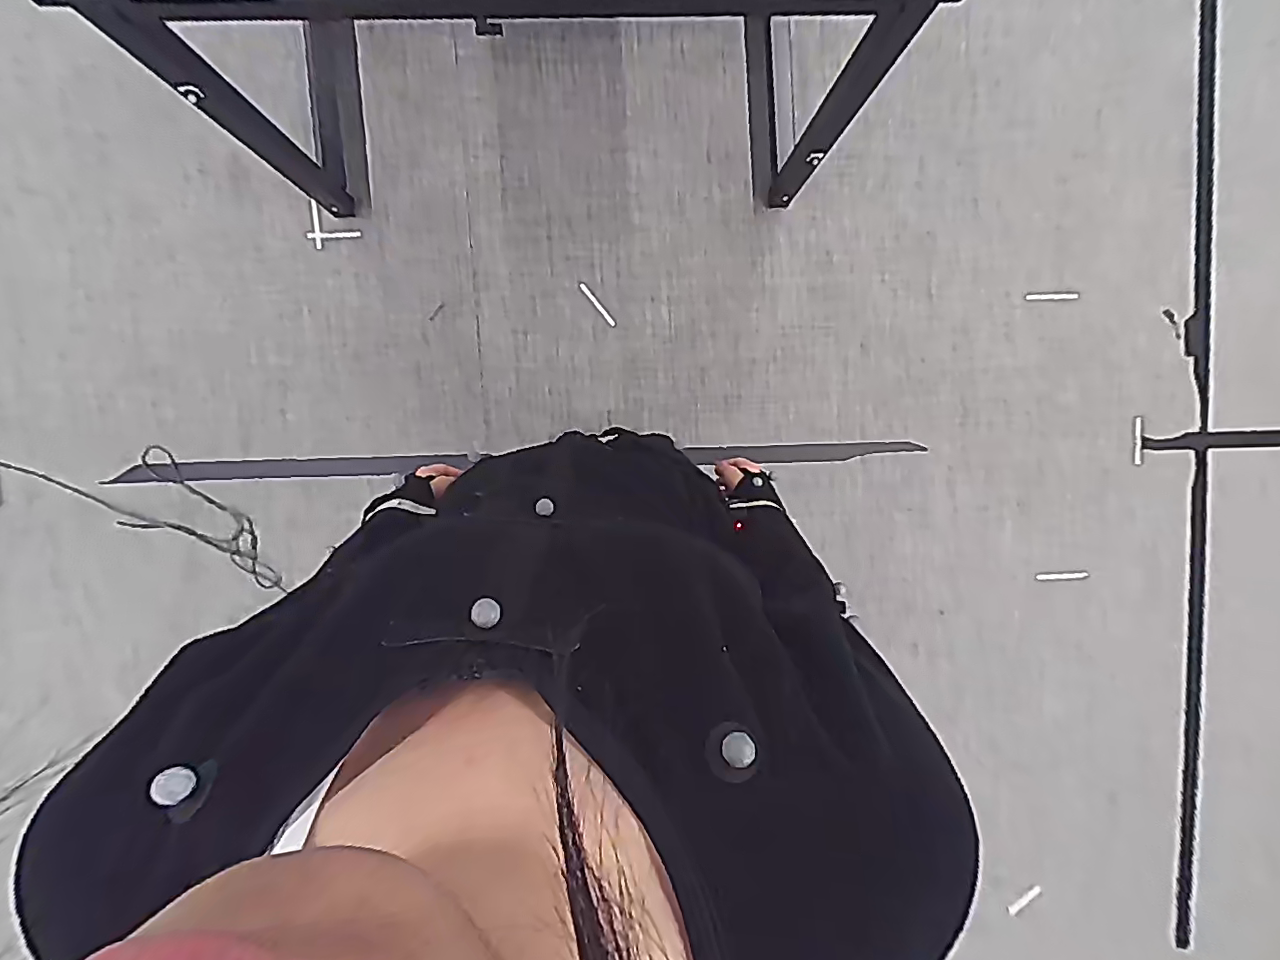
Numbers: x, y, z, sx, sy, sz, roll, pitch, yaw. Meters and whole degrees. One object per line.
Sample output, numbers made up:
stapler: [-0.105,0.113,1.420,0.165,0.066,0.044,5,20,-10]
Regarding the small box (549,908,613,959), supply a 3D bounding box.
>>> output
small box: [-0.161,1.328,1.495,0.168,0.176,0.179,-5,96,-3]
